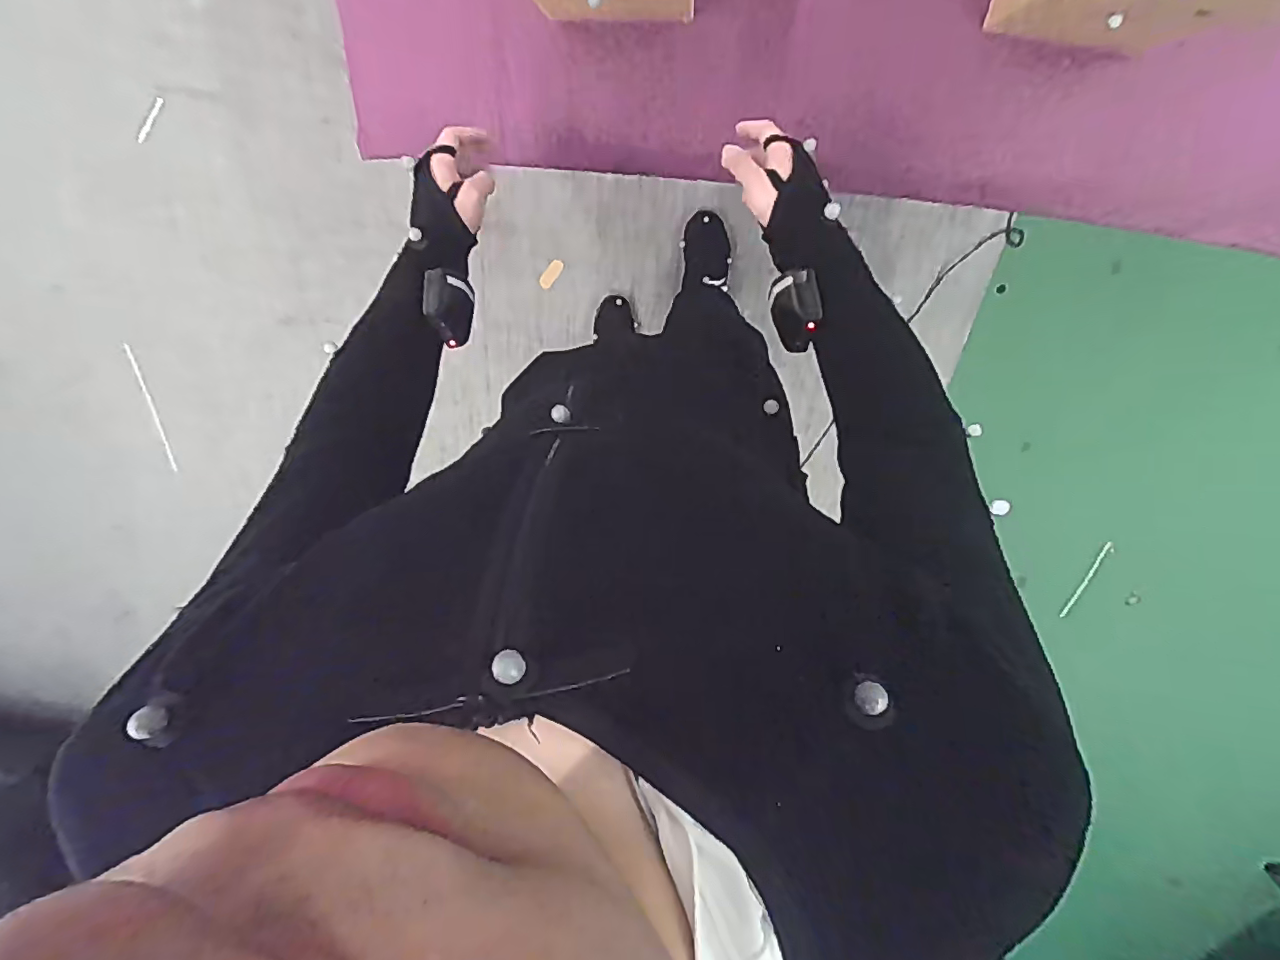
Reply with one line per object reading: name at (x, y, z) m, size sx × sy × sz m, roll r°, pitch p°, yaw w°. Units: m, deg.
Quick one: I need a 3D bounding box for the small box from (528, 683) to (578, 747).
small box at (-0.354, 0.960, 2.221) m, size 0.179 × 0.176 × 0.168 m, roll 9°, pitch 119°, yaw 1°

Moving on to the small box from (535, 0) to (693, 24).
small box at (-0.026, -0.574, 0.530) m, size 0.179 × 0.176 × 0.168 m, roll 5°, pitch 119°, yaw 4°

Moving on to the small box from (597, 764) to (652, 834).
small box at (-0.060, 1.272, 2.165) m, size 0.179 × 0.176 × 0.168 m, roll 15°, pitch 120°, yaw -2°

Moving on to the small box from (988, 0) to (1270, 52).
small box at (0.469, -0.521, 0.498) m, size 0.179 × 0.176 × 0.168 m, roll 9°, pitch 119°, yaw 1°
